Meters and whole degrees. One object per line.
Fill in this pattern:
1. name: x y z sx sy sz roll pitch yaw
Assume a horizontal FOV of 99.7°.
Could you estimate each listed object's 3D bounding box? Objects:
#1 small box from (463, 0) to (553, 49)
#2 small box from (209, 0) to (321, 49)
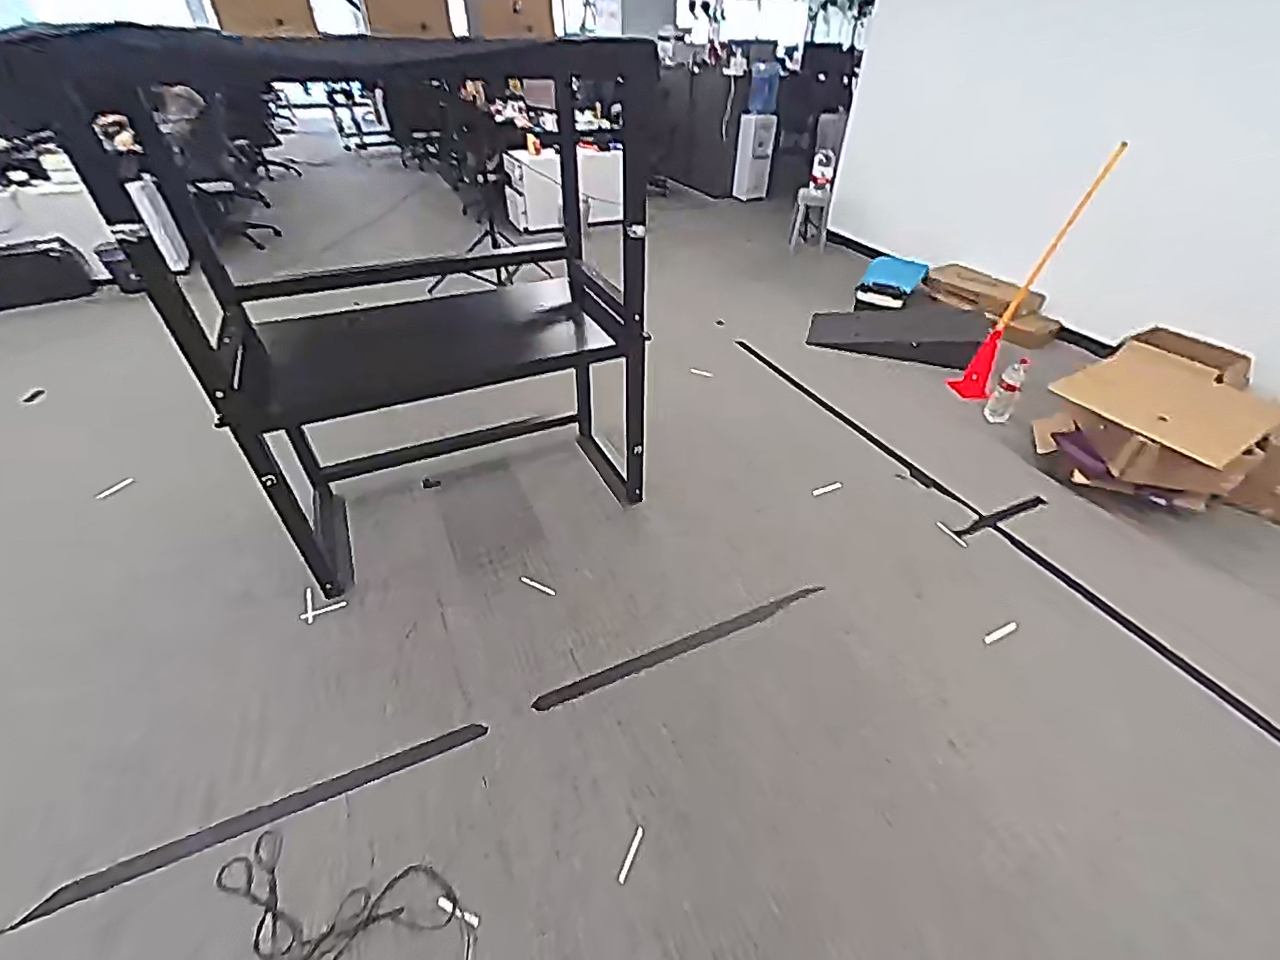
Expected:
1. small box: -0.301 -1.073 1.203 0.168 0.176 0.179 -17 42 -18
2. small box: -0.744 -0.955 1.056 0.168 0.176 0.179 -15 41 -18
